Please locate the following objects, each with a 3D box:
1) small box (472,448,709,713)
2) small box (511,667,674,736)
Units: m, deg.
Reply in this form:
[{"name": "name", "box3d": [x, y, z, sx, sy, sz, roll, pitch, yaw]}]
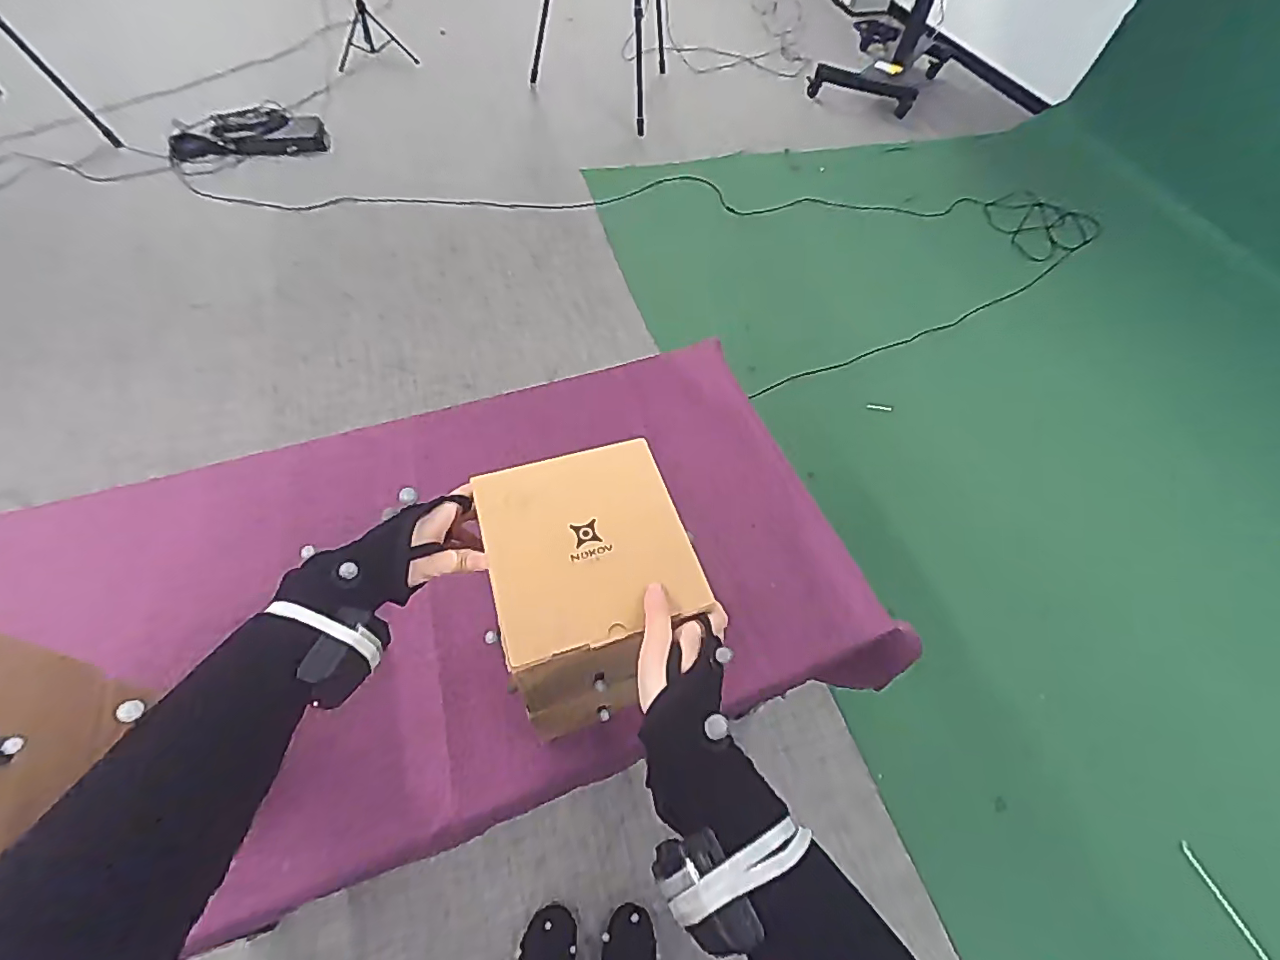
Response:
[{"name": "small box", "box3d": [-0.054, 0.099, 0.521, 0.168, 0.176, 0.179, -14, 60, -14]}, {"name": "small box", "box3d": [-0.071, 0.193, 0.655, 0.168, 0.176, 0.179, -15, 59, -14]}]
